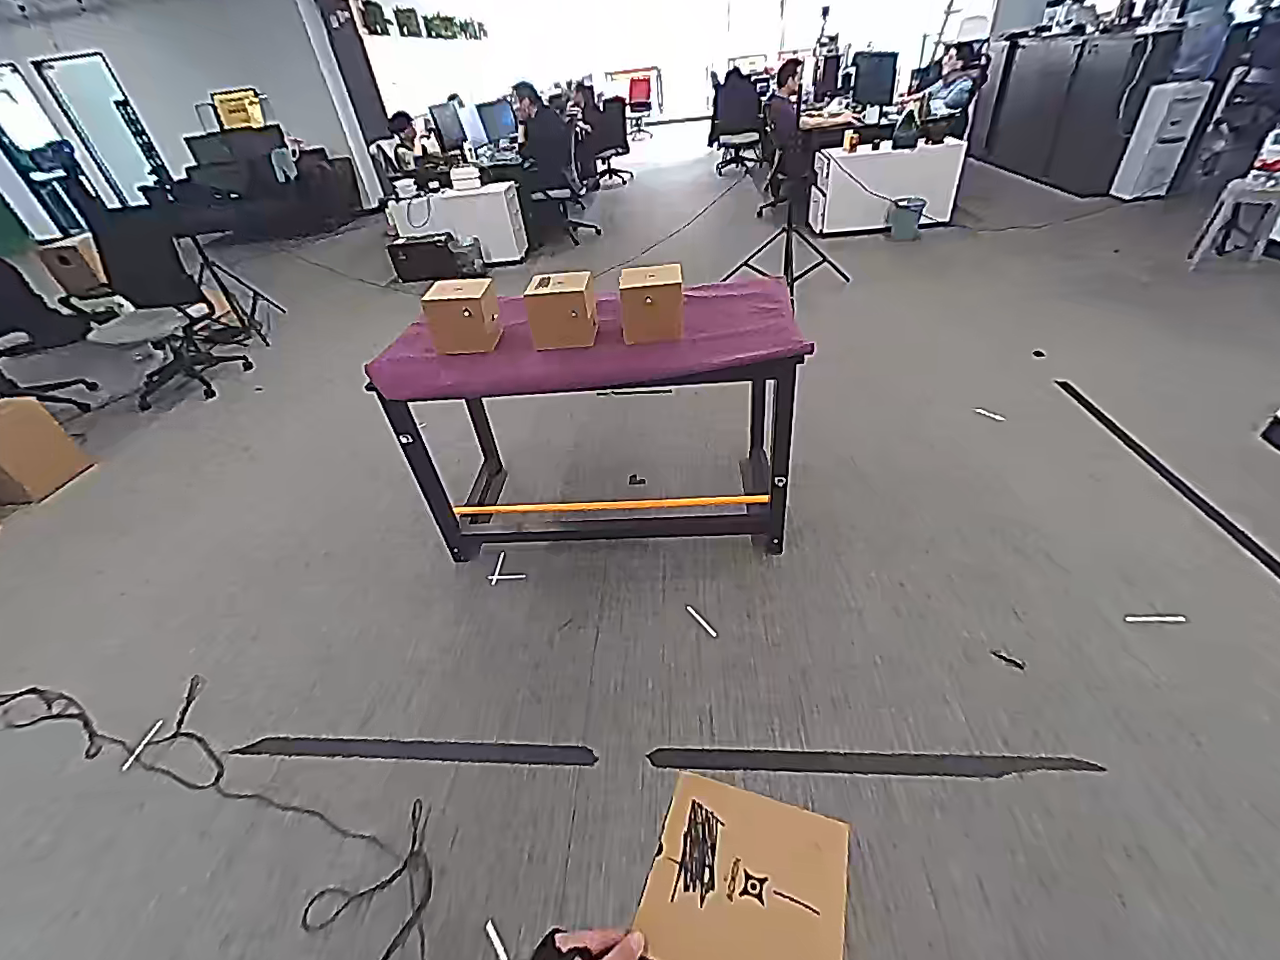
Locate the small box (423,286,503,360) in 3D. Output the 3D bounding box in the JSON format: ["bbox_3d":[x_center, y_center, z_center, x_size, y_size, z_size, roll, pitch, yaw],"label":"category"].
[{"bbox_3d":[-0.527,-0.477,1.643,0.179,0.176,0.168,-2,37,2],"label":"small box"}]

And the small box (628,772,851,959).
[{"bbox_3d":[0.102,0.436,0.535,0.179,0.176,0.168,9,33,19],"label":"small box"}]

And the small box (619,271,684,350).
[{"bbox_3d":[0.038,-0.494,1.582,0.179,0.176,0.168,-4,38,5],"label":"small box"}]
